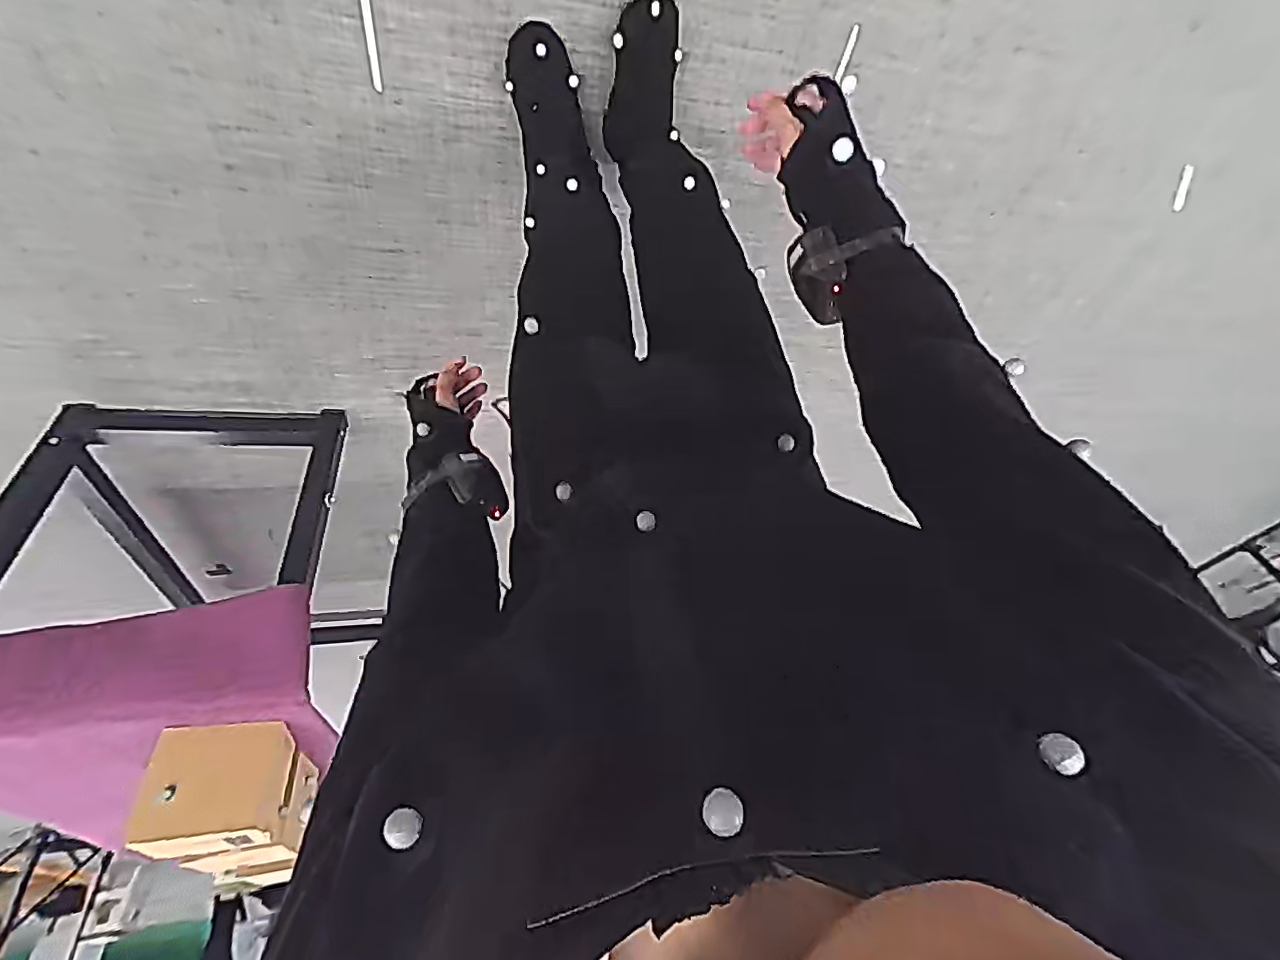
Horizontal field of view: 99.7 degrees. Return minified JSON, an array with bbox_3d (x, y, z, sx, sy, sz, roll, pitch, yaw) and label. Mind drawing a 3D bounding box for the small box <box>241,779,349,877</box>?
[{"bbox_3d":[-0.829,0.850,1.325,0.179,0.176,0.168,-2,141,-13],"label":"small box"}]
